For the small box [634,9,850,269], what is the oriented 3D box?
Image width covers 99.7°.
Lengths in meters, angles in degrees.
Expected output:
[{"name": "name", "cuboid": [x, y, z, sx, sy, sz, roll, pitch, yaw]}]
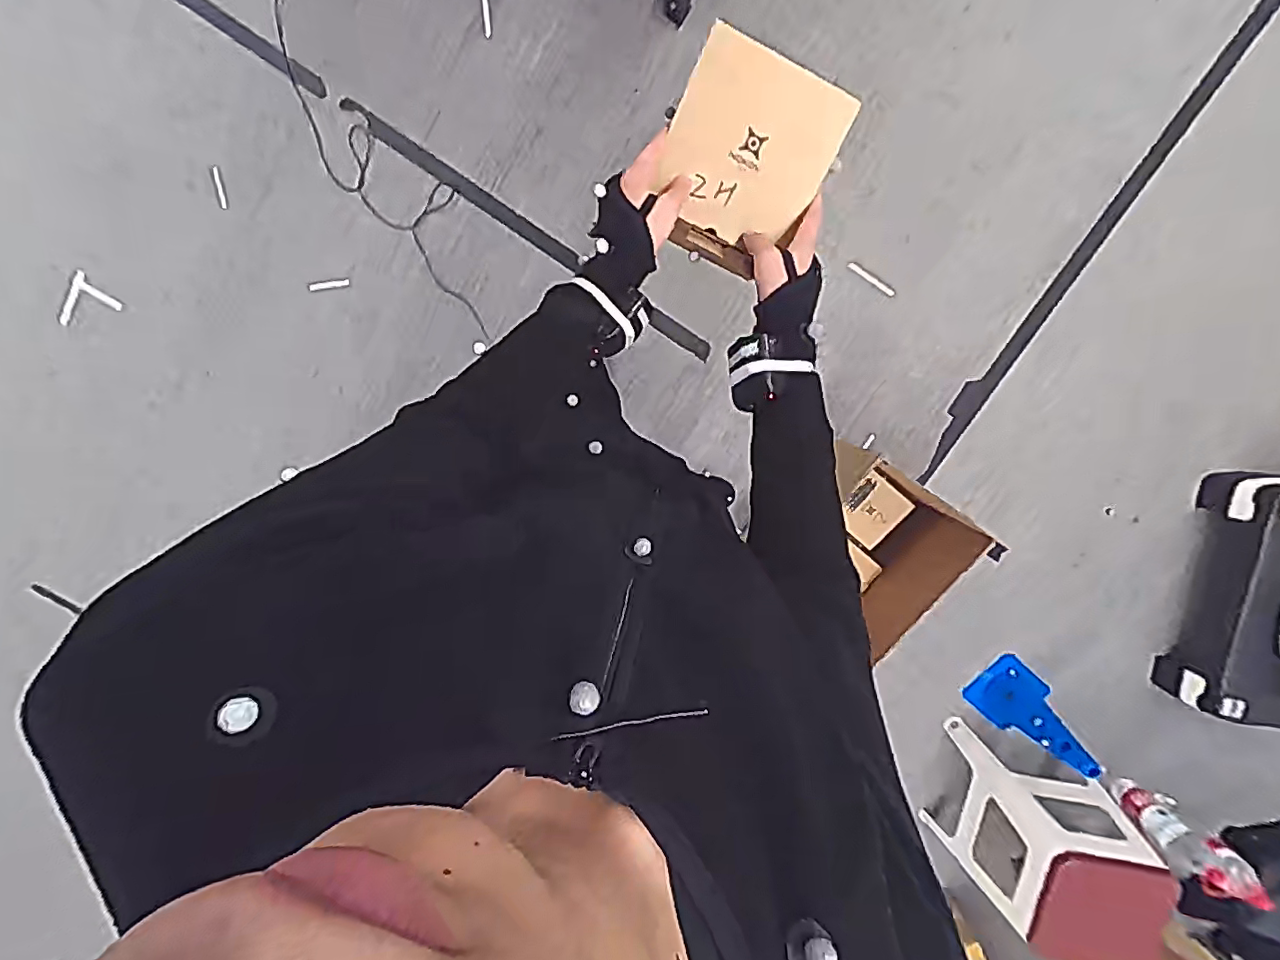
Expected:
[{"name": "small box", "cuboid": [0.100, -0.364, 0.620, 0.168, 0.176, 0.179, 24, 105, -6]}]
